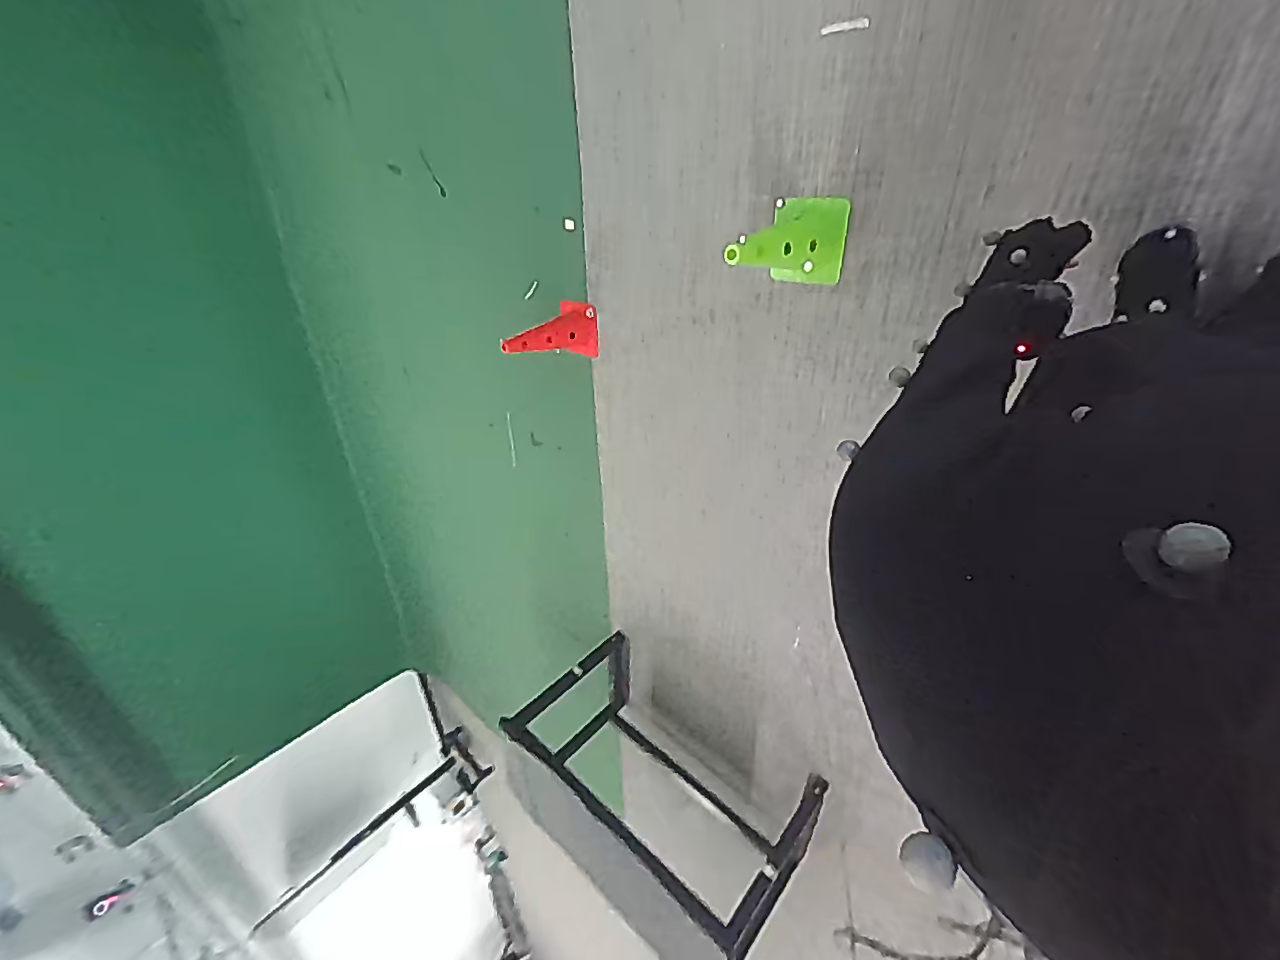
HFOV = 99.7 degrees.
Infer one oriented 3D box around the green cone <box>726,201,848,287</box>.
[{"bbox_3d":[0.317,-0.544,1.289,0.202,0.368,0.200,21,126,37],"label":"green cone"}]
